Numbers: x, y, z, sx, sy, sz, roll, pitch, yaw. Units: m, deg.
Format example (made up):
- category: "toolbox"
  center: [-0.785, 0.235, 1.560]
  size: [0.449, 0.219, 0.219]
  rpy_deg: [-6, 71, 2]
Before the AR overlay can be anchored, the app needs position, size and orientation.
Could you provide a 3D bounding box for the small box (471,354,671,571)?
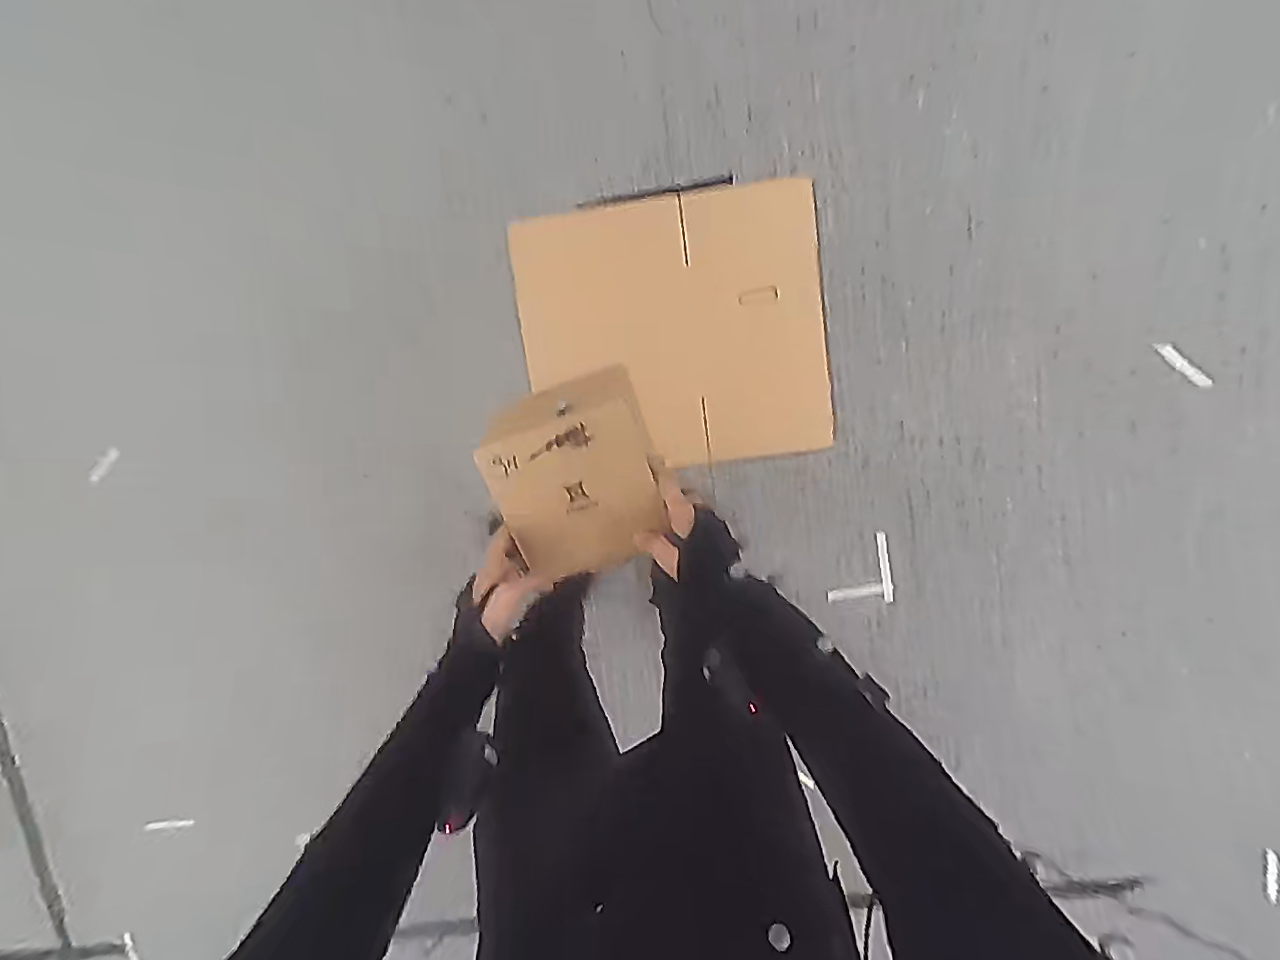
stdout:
- category: "small box"
  center: [-0.068, -0.027, 0.636]
  size: [0.168, 0.176, 0.179]
  rpy_deg: [-18, 114, 7]
